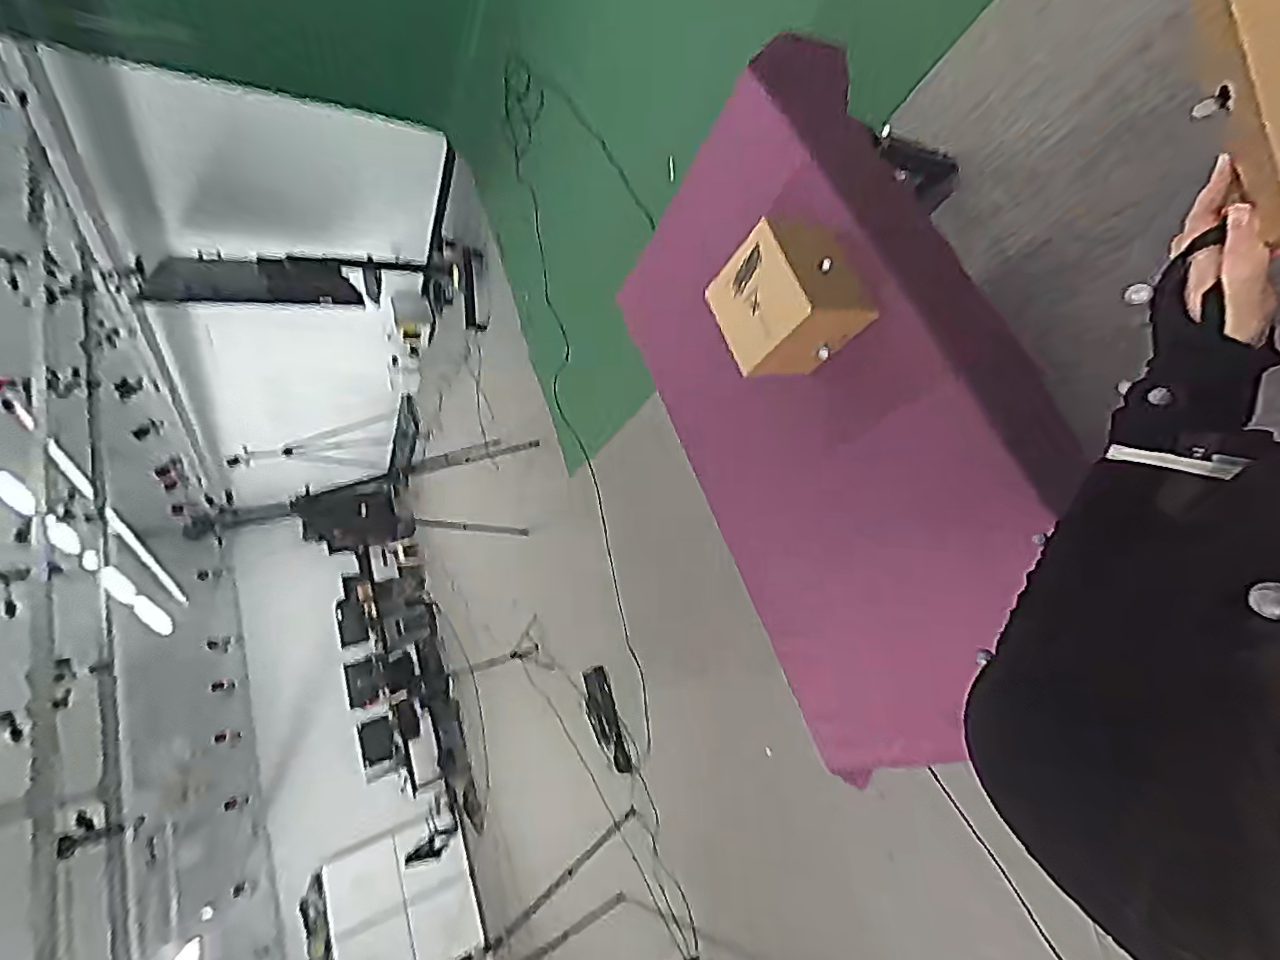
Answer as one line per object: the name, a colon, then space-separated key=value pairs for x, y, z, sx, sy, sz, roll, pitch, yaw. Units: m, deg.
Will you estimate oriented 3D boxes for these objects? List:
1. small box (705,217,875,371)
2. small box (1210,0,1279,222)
small box: x=0.244 y=-0.297 z=0.892 sx=0.168 sy=0.176 sz=0.179 roll=-44 pitch=63 yaw=53
small box: x=0.401 y=-0.241 z=0.249 sx=0.179 sy=0.176 sz=0.168 roll=-14 pitch=95 yaw=46
